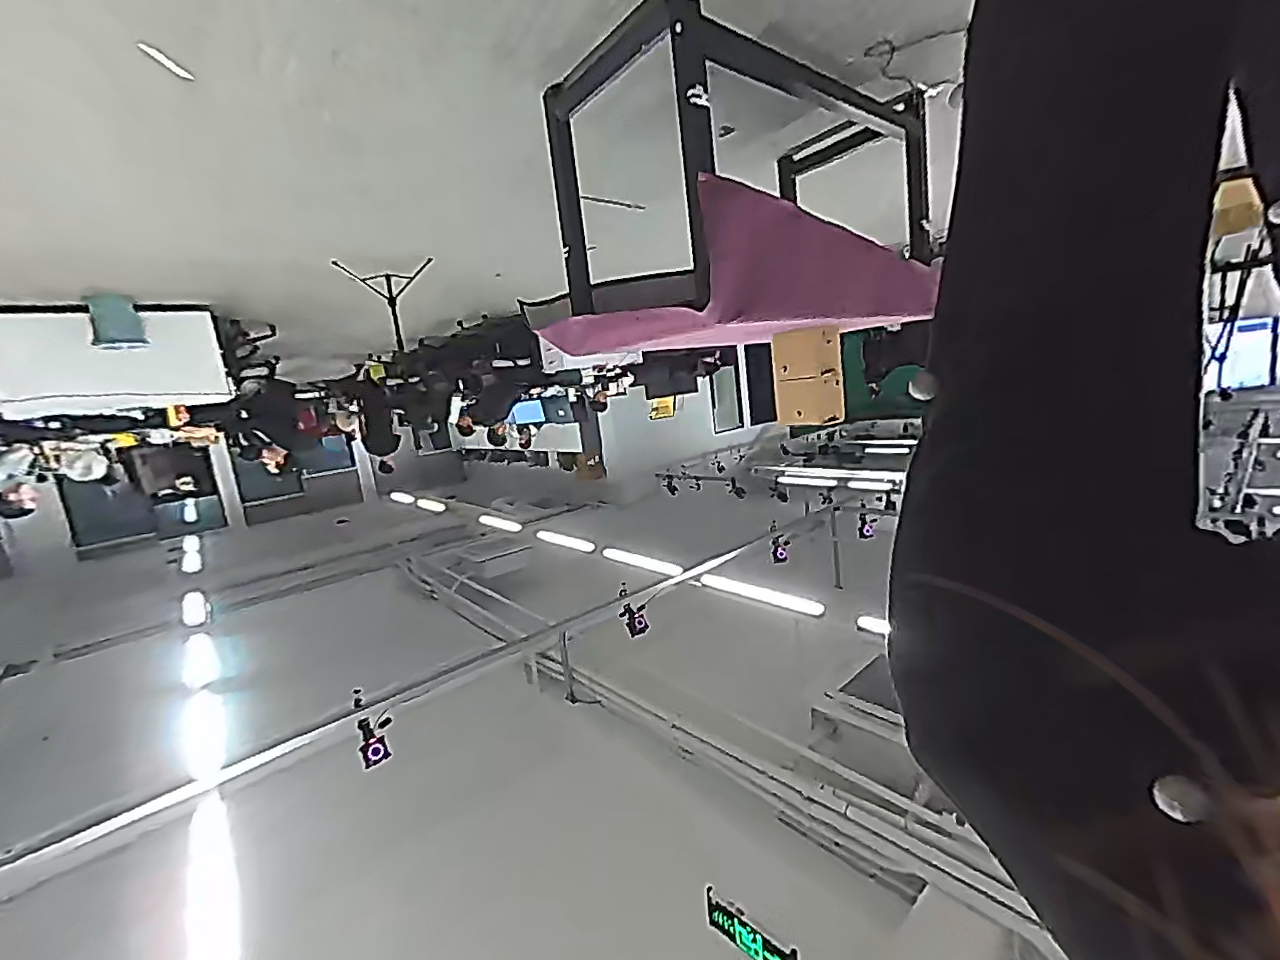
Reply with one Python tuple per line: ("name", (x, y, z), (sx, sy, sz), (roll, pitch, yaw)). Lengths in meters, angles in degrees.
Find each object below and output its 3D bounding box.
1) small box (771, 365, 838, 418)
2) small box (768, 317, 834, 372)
("small box", (0.596, -0.326, 1.969), (0.168, 0.176, 0.179), (-15, -167, -35))
("small box", (0.573, -0.486, 1.937), (0.168, 0.176, 0.179), (-17, -166, -38))
